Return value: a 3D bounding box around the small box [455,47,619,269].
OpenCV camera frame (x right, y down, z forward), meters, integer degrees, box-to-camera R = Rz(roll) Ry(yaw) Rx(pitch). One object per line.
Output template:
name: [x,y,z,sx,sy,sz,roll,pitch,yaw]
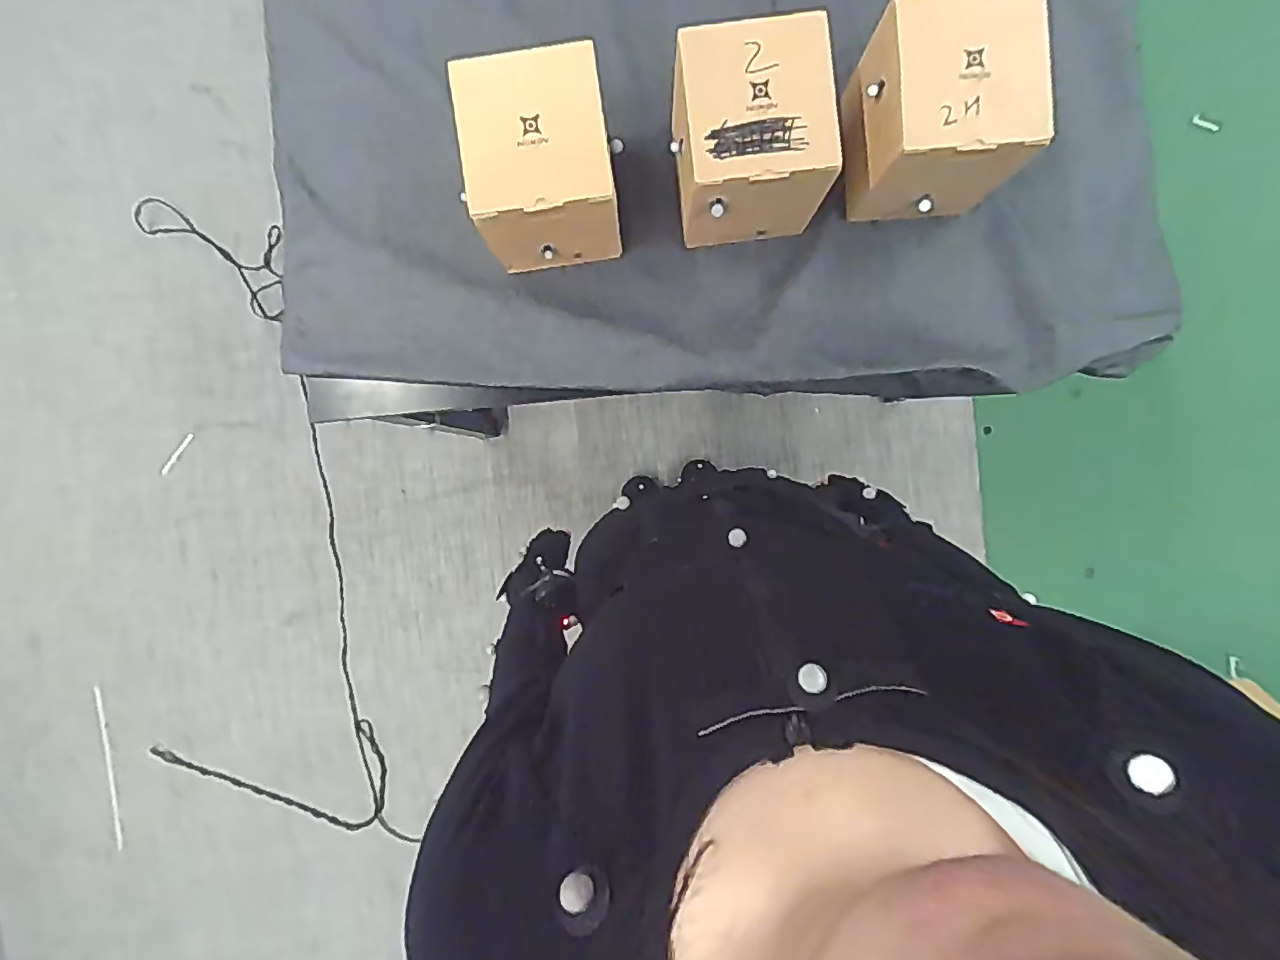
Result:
small box: [-0.120,-0.394,0.690,0.168,0.176,0.179,-8,91,0]
